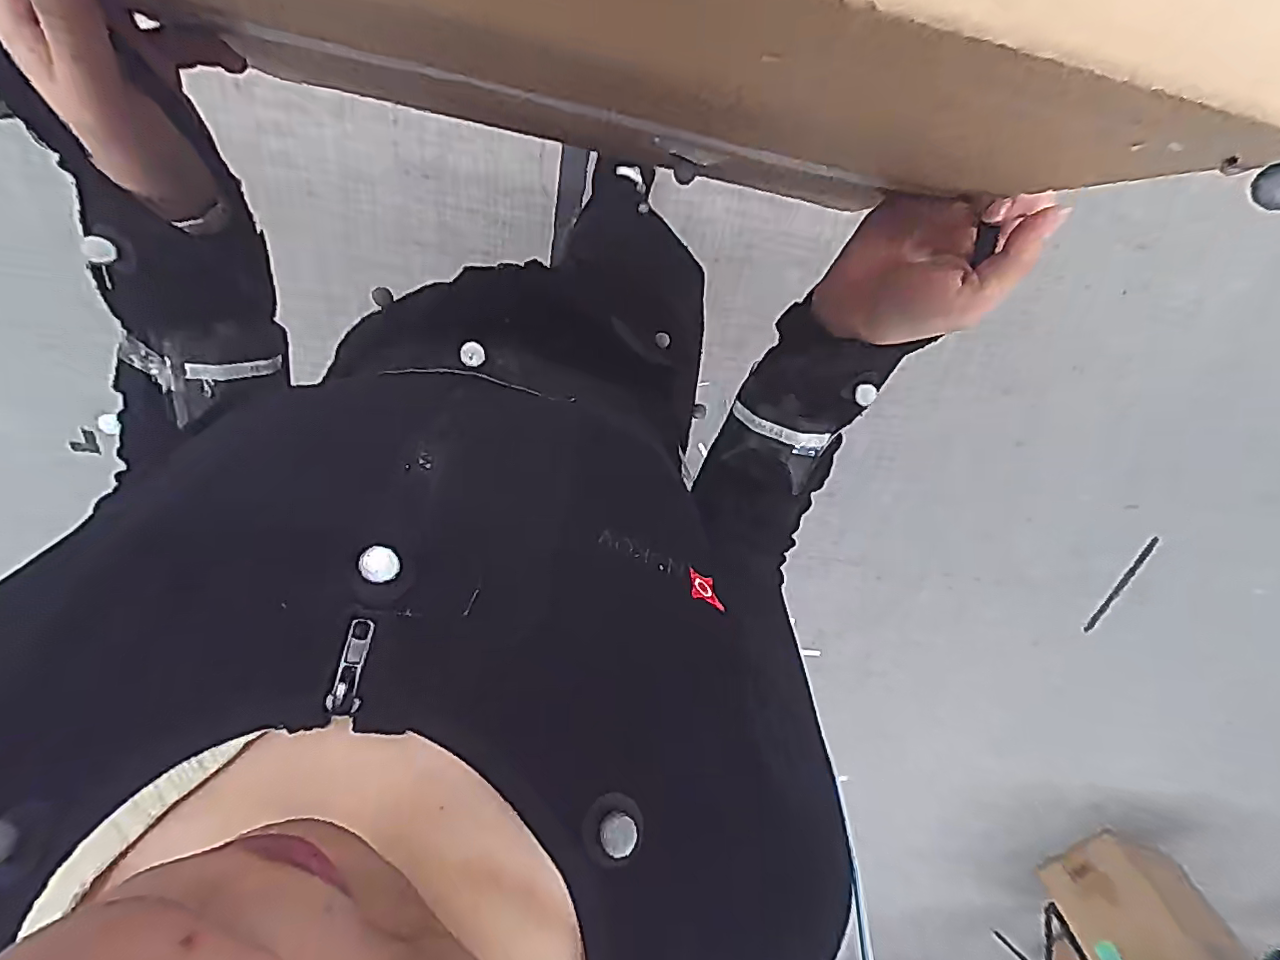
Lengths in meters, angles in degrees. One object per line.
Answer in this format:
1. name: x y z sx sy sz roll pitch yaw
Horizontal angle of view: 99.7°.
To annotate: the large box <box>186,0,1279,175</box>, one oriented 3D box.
1. large box: -0.002 -0.324 0.172 0.408 0.320 0.320 8 115 -7
